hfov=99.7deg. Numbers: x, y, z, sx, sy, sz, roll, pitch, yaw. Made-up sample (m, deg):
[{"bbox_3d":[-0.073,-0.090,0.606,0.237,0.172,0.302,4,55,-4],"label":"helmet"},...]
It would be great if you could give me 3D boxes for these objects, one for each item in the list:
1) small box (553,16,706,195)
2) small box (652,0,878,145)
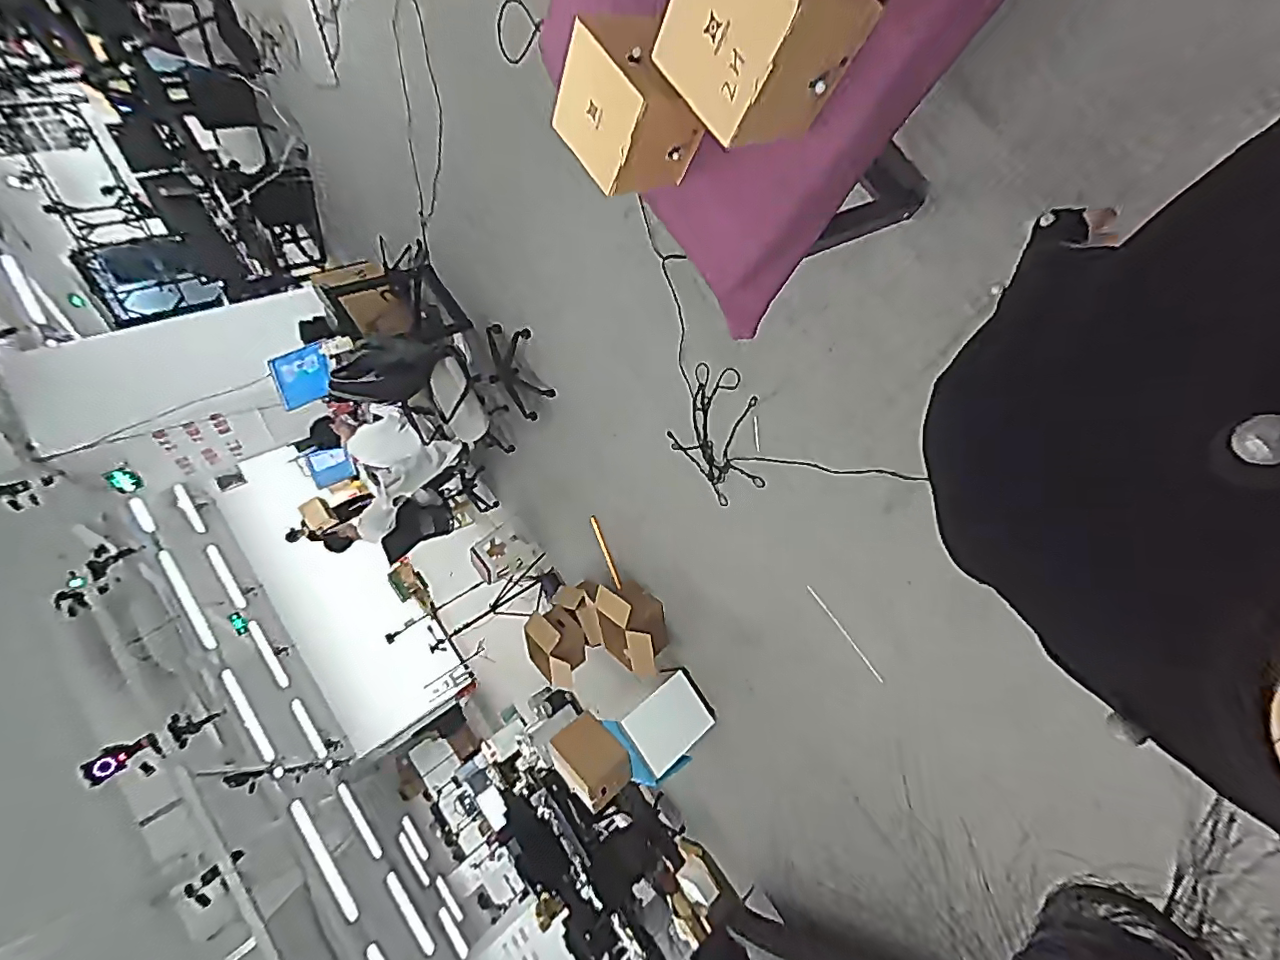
[{"bbox_3d":[-0.010,-0.603,0.879,0.179,0.176,0.168,54,148,8],"label":"small box"},{"bbox_3d":[0.152,-0.559,0.678,0.179,0.176,0.168,55,149,9],"label":"small box"}]
